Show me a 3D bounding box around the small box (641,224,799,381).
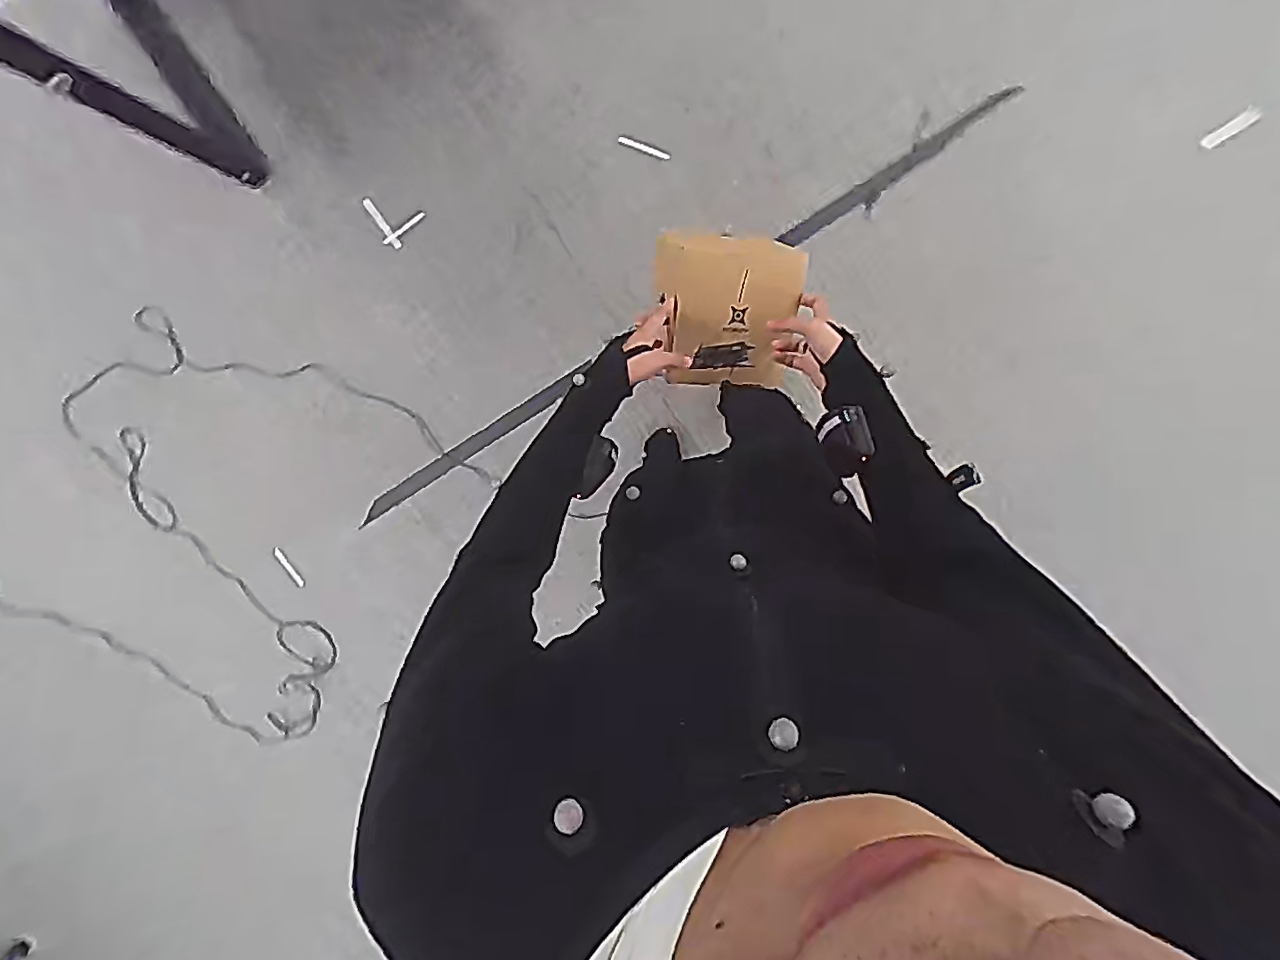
[{"bbox_3d":[0.099,-0.253,0.766,0.168,0.176,0.179,-2,120,-11],"label":"small box"}]
